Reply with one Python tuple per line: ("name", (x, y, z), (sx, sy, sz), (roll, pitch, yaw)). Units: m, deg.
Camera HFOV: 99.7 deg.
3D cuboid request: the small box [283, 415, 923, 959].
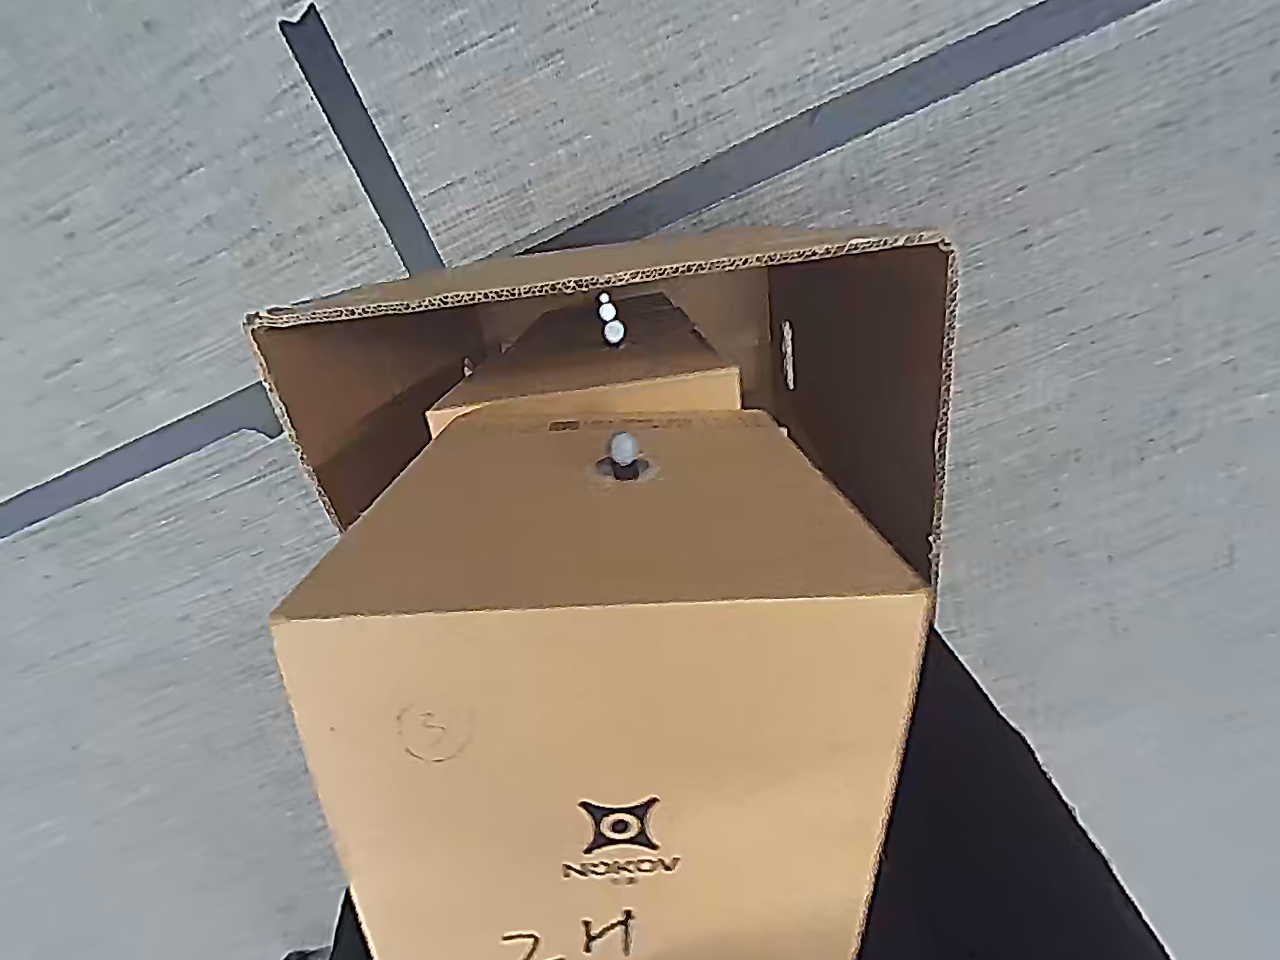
("small box", (-0.011, 0.073, 0.241), (0.168, 0.176, 0.179), (-1, 113, -2))
